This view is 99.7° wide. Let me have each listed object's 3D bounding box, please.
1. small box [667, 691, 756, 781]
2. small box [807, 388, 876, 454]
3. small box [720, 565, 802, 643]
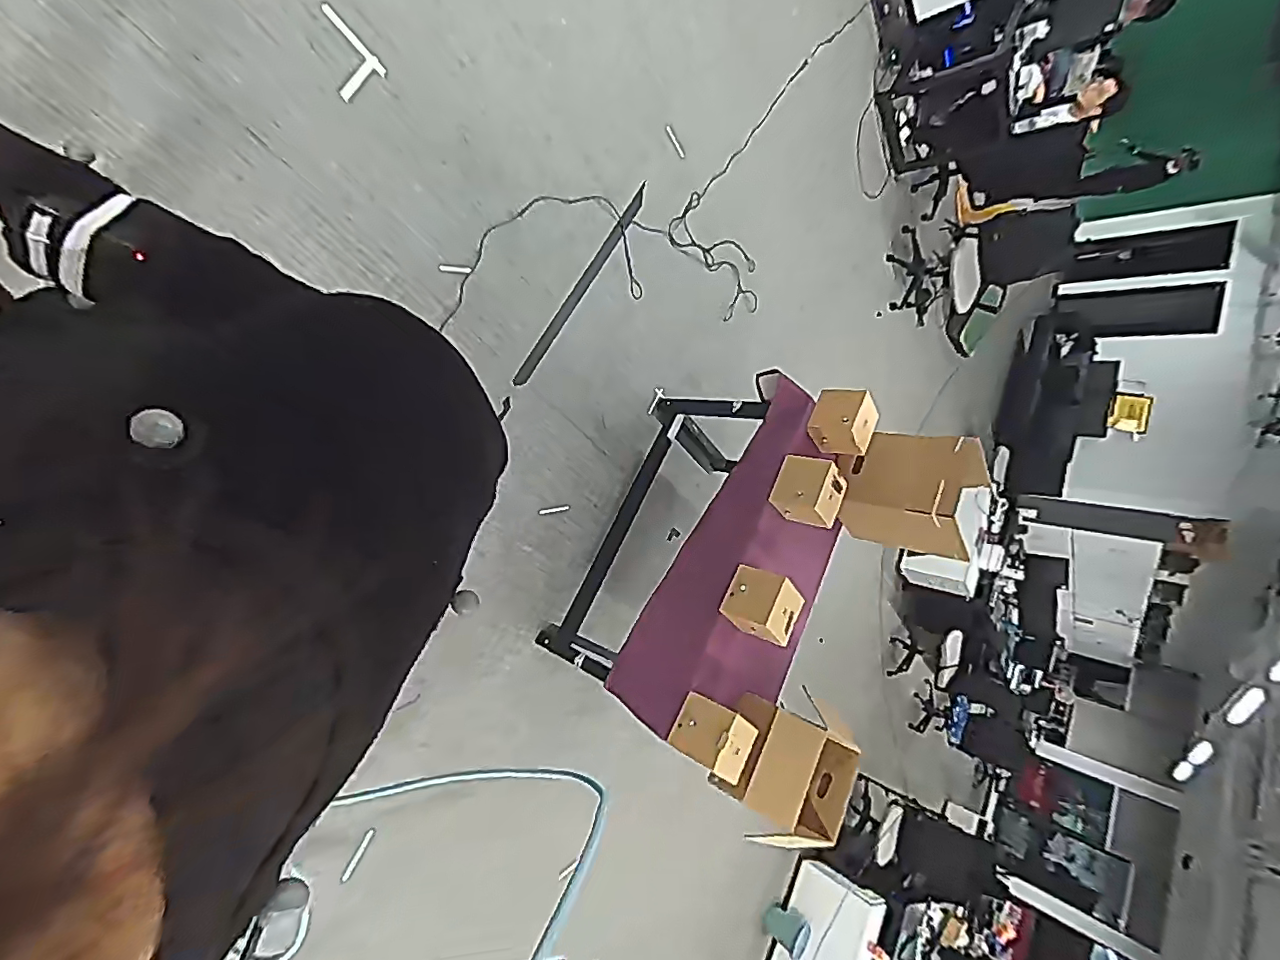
[{"bbox_3d":[0.210,0.748,1.593,0.179,0.176,0.168,51,61,-40],"label":"small box"},{"bbox_3d":[0.725,-0.219,1.947,0.168,0.176,0.179,42,69,-43],"label":"small box"},{"bbox_3d":[0.381,0.386,1.705,0.179,0.176,0.168,47,64,-41],"label":"small box"}]
